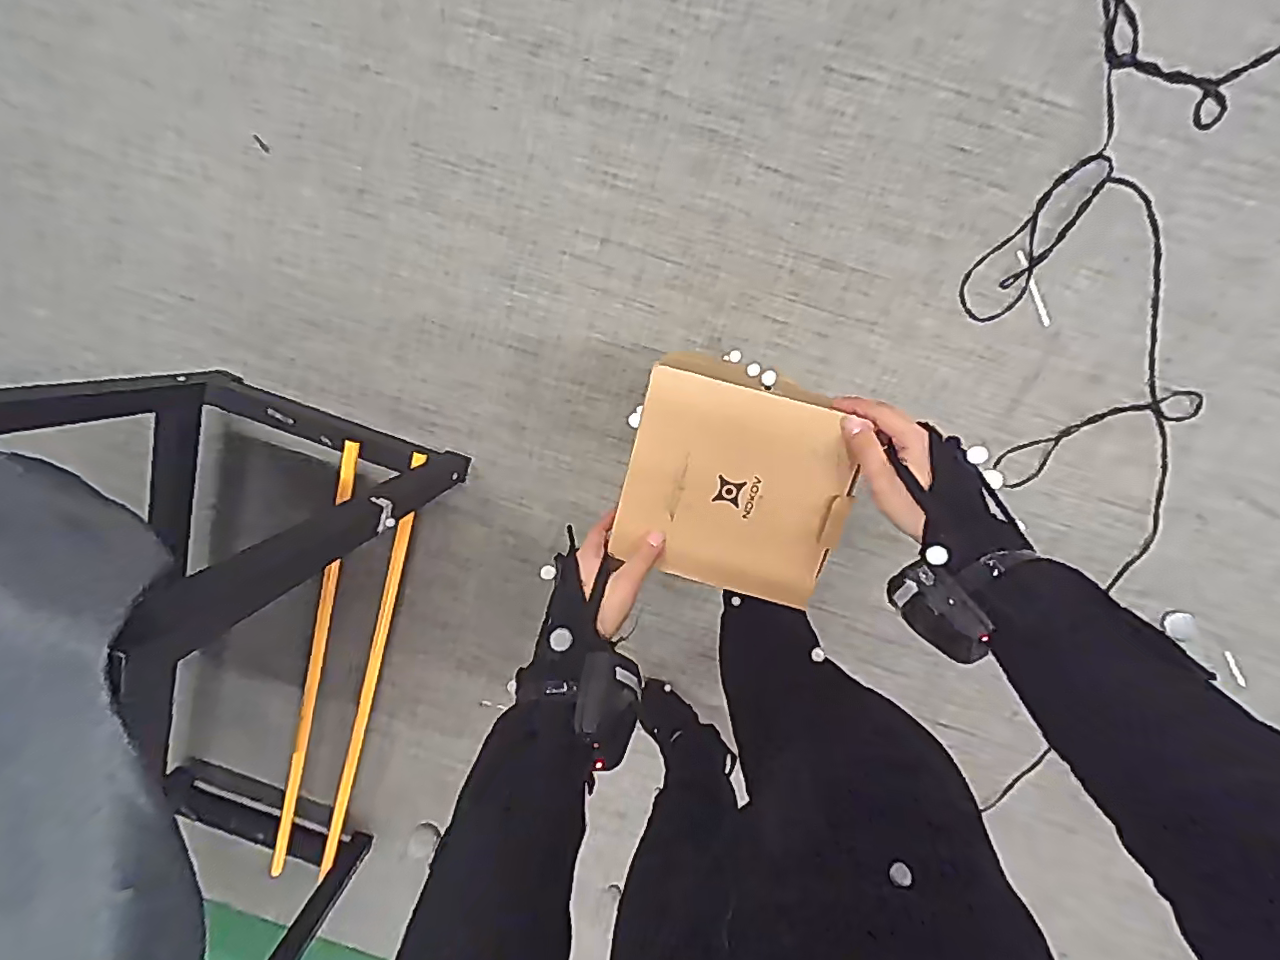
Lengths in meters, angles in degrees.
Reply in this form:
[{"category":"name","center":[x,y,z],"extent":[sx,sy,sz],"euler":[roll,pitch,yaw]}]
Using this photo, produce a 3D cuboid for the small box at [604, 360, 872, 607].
[{"category":"small box","center":[0.081,-0.012,0.505],"extent":[0.179,0.176,0.168],"euler":[15,106,3]}]
